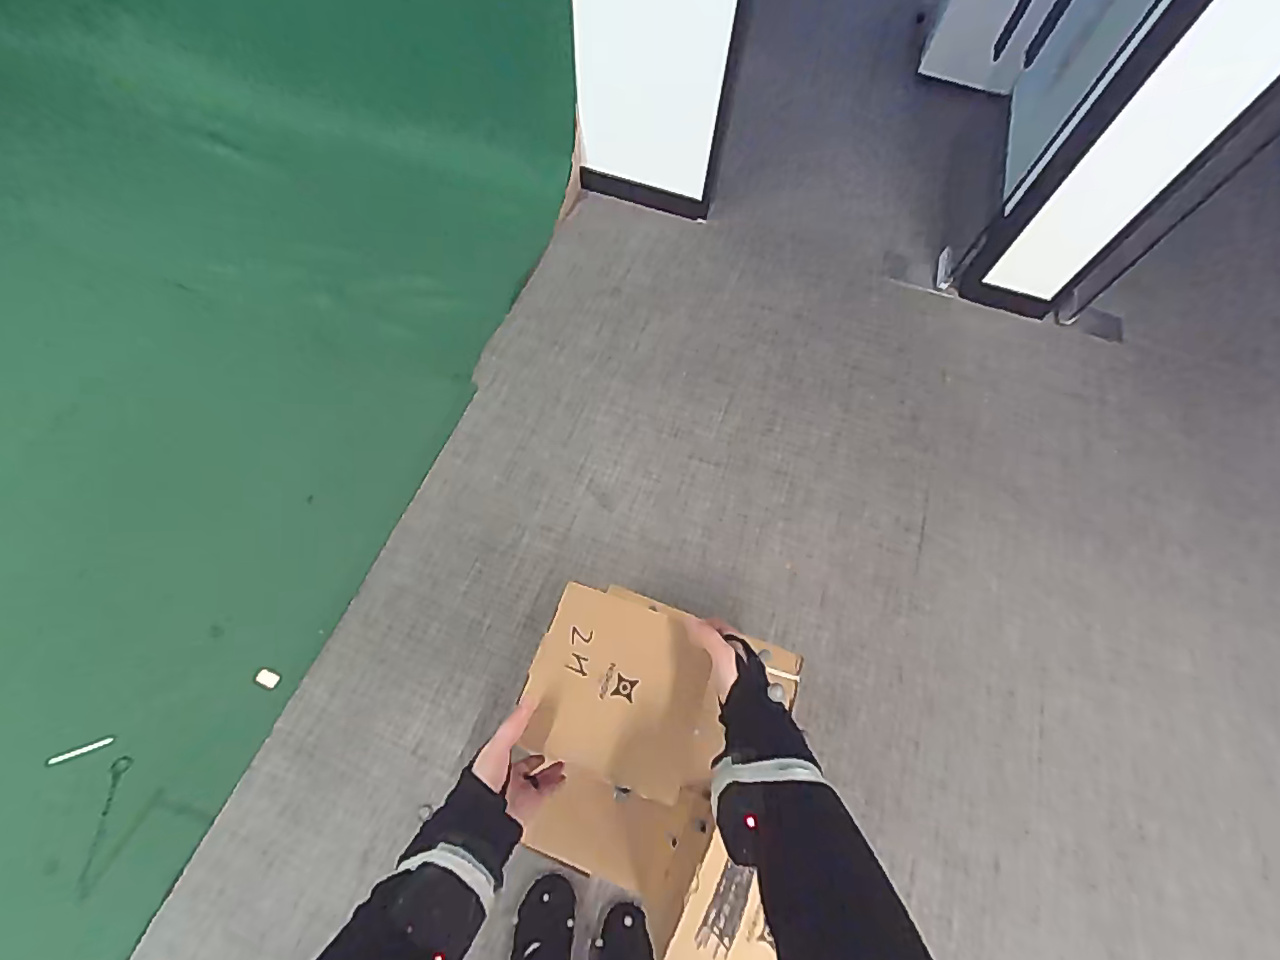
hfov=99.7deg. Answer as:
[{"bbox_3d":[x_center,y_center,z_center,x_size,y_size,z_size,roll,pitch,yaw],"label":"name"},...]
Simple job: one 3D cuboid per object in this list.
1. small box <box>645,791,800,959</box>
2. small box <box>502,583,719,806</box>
[{"bbox_3d":[0.114,0.592,0.810,0.168,0.176,0.179,23,64,7],"label":"small box"},{"bbox_3d":[-0.030,0.242,0.612,0.179,0.176,0.168,19,62,6],"label":"small box"}]
